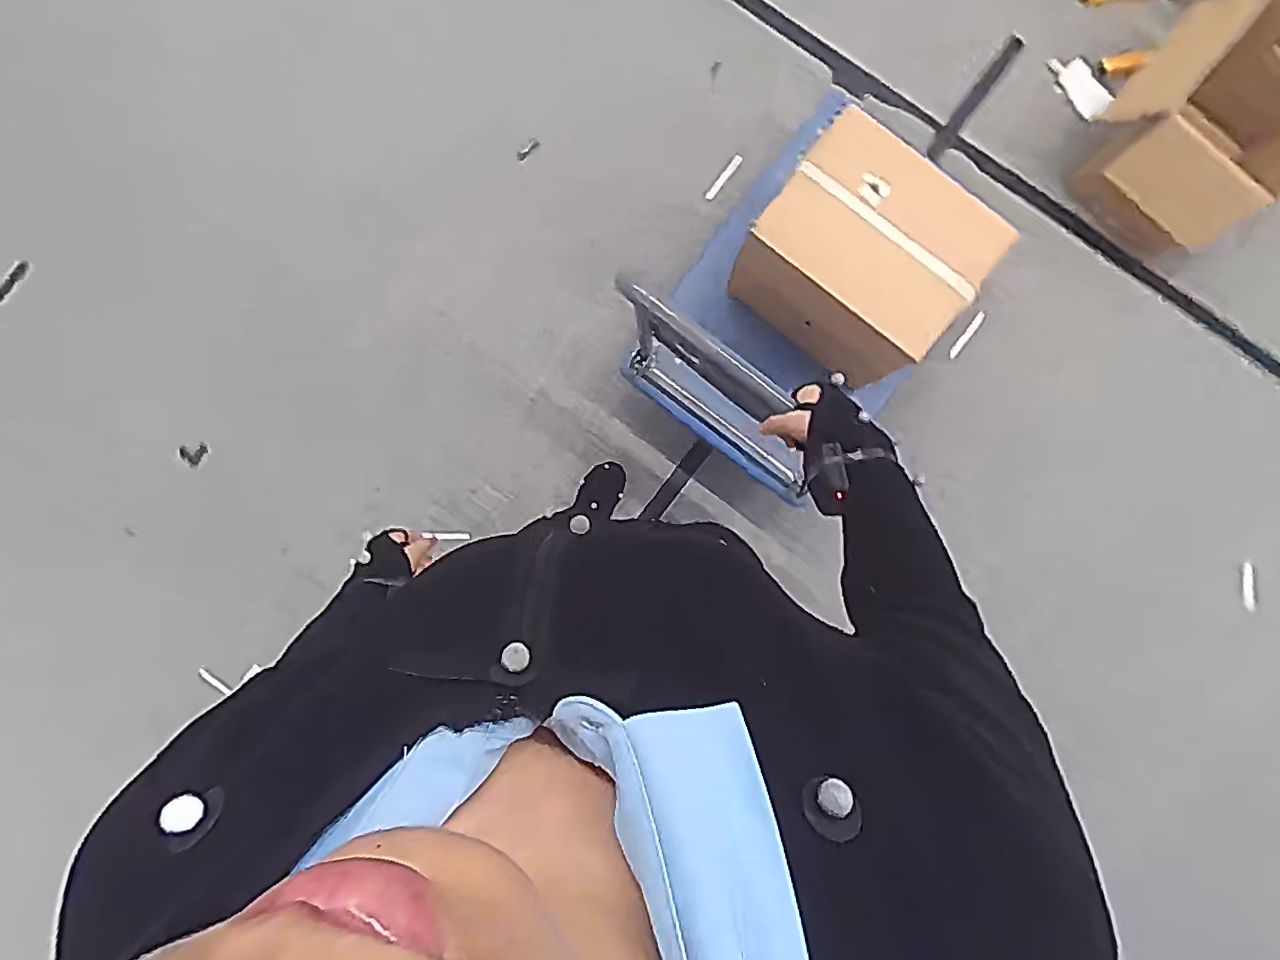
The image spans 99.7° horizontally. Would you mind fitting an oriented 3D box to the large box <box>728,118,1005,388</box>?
[{"bbox_3d":[0.460,-0.463,1.191,0.408,0.320,0.320,39,89,2],"label":"large box"}]
